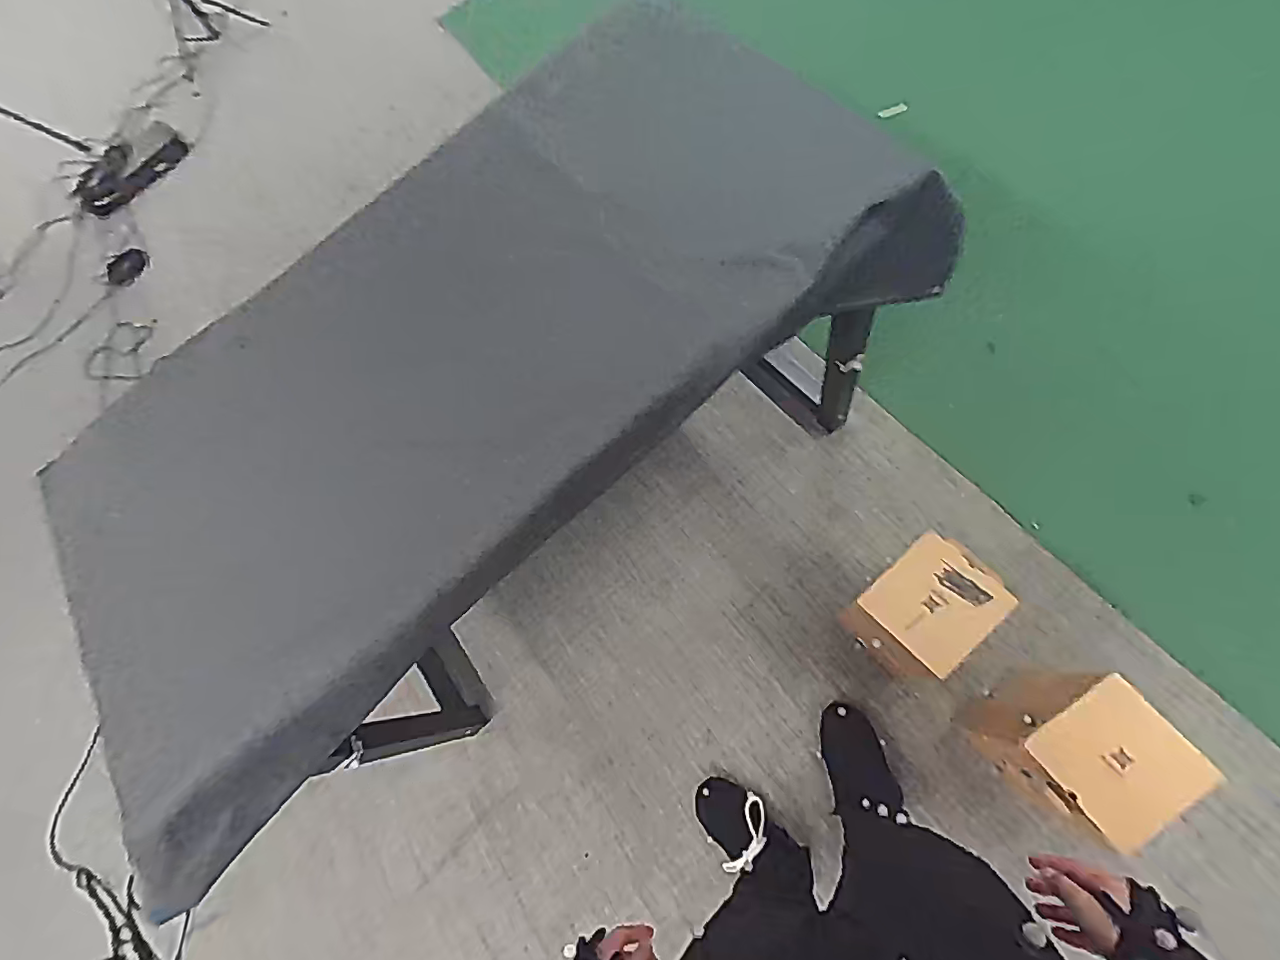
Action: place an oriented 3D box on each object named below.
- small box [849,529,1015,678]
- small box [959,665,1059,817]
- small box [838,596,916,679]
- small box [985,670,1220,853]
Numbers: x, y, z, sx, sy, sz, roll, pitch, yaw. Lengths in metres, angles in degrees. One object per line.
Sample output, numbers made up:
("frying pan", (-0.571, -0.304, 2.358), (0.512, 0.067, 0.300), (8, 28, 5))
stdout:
("small box", (0.481, 0.214, 0.926), (0.179, 0.176, 0.168), (-44, 67, -2))
("small box", (0.707, 0.453, 0.966), (0.179, 0.176, 0.168), (-40, 68, 1))
("small box", (0.516, 0.271, 1.076), (0.179, 0.176, 0.168), (-44, 67, -2))
("small box", (0.671, 0.404, 0.814), (0.179, 0.176, 0.168), (-38, 68, 0))
